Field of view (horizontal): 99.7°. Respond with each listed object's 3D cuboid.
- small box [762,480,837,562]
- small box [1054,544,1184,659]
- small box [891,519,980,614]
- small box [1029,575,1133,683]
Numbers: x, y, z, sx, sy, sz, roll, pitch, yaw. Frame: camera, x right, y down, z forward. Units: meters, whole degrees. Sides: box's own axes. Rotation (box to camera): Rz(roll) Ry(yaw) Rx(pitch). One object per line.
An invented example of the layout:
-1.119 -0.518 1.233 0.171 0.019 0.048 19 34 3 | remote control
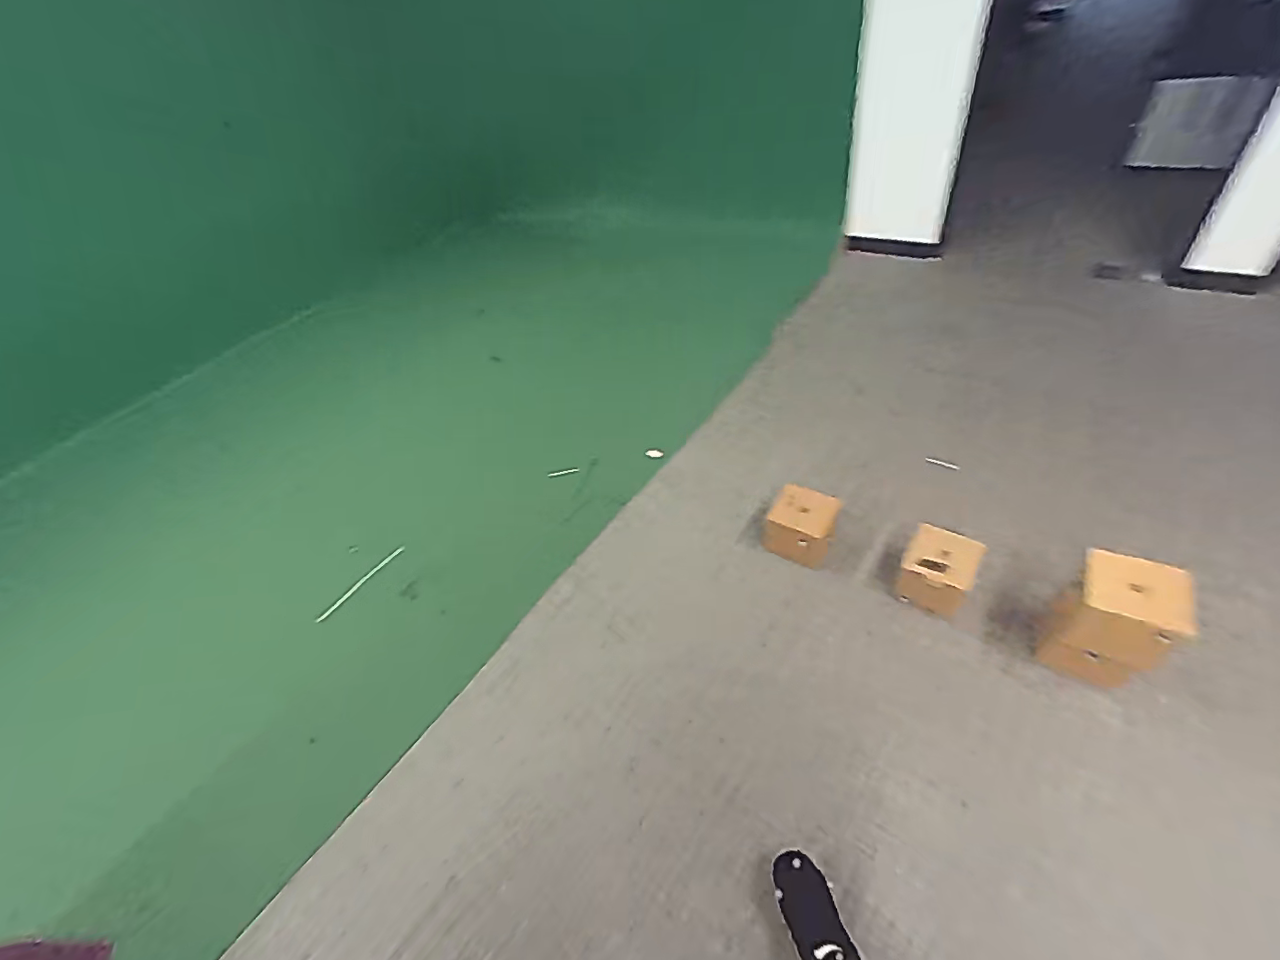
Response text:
0.505 0.136 1.715 0.179 0.176 0.168 22 55 30 | small box
1.066 0.276 1.218 0.179 0.176 0.168 16 54 26 | small box
0.828 0.248 1.528 0.168 0.176 0.179 22 56 30 | small box
1.102 0.373 1.344 0.179 0.176 0.168 20 56 29 | small box
